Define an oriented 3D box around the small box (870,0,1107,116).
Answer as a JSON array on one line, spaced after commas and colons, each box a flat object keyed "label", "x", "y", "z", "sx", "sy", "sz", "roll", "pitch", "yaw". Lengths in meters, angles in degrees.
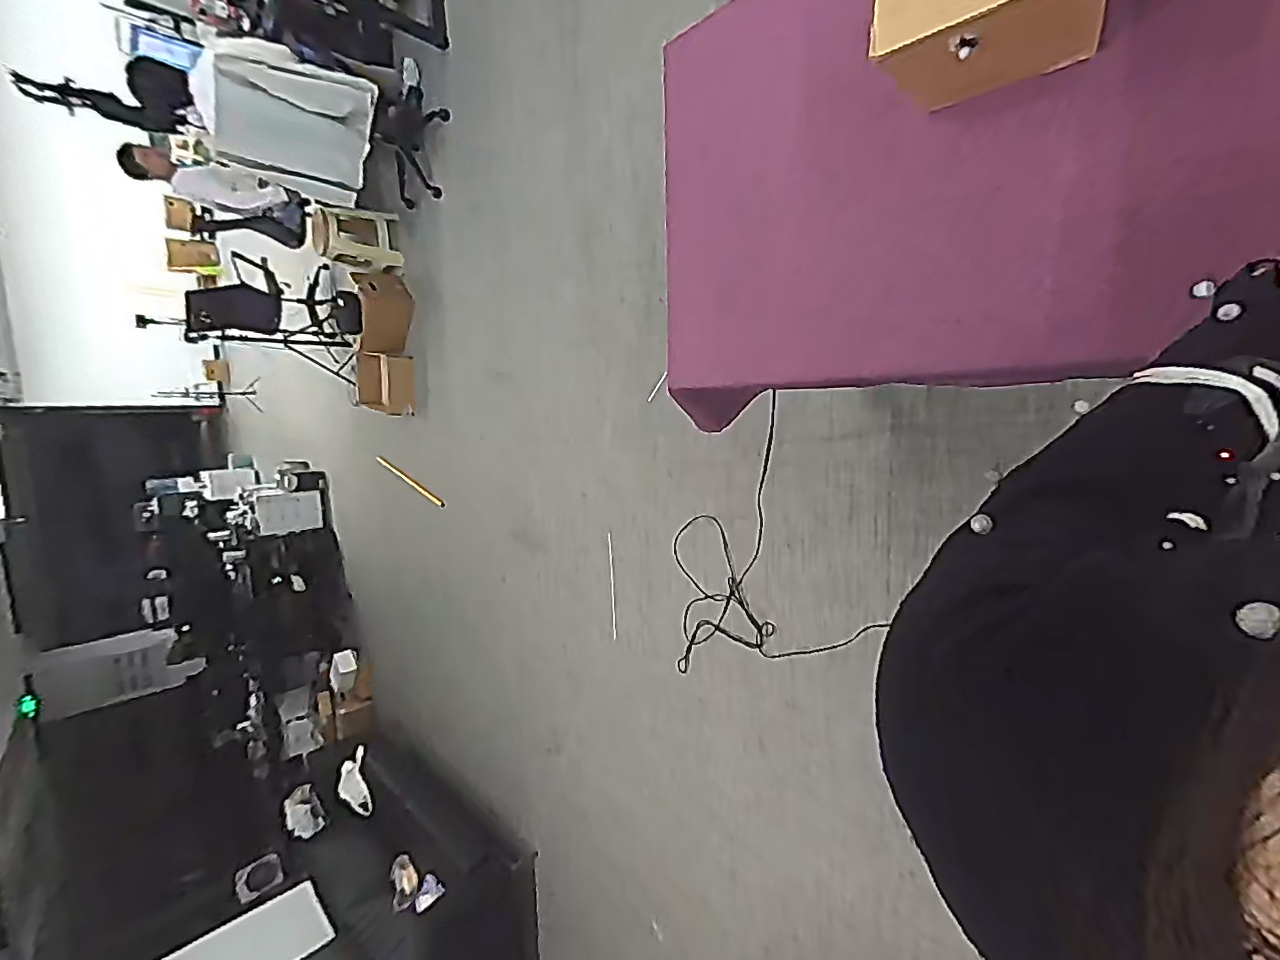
[{"label": "small box", "x": 0.368, "y": -0.519, "z": 0.565, "sx": 0.179, "sy": 0.176, "sz": 0.168, "roll": 11, "pitch": 104, "yaw": 44}]
